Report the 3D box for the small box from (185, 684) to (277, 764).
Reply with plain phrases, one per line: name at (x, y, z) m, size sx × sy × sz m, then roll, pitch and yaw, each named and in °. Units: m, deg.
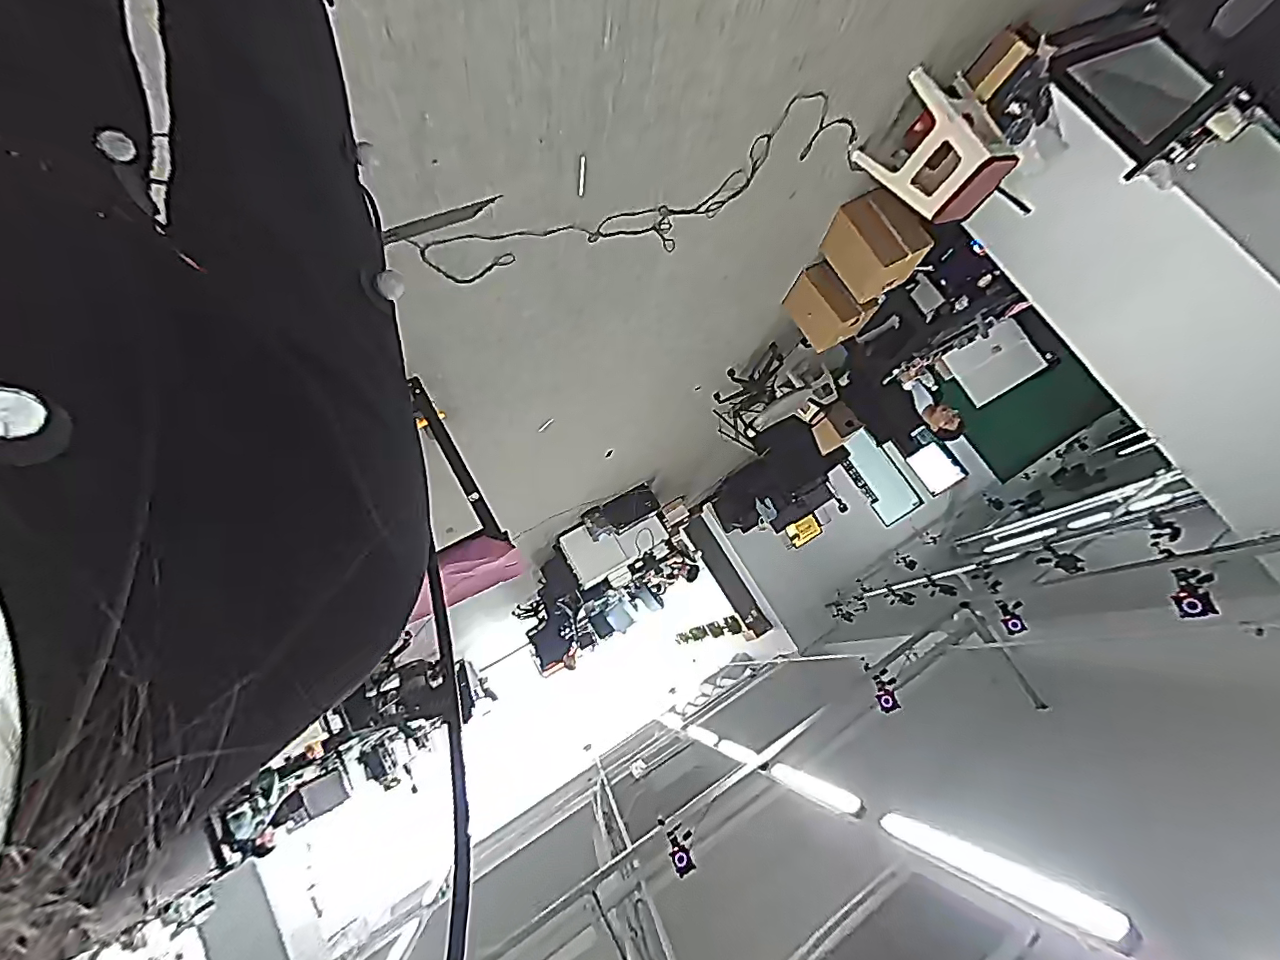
small box at (-1.344, 0.792, 1.773) m, size 0.179 × 0.176 × 0.168 m, roll -28°, pitch 168°, yaw -19°
